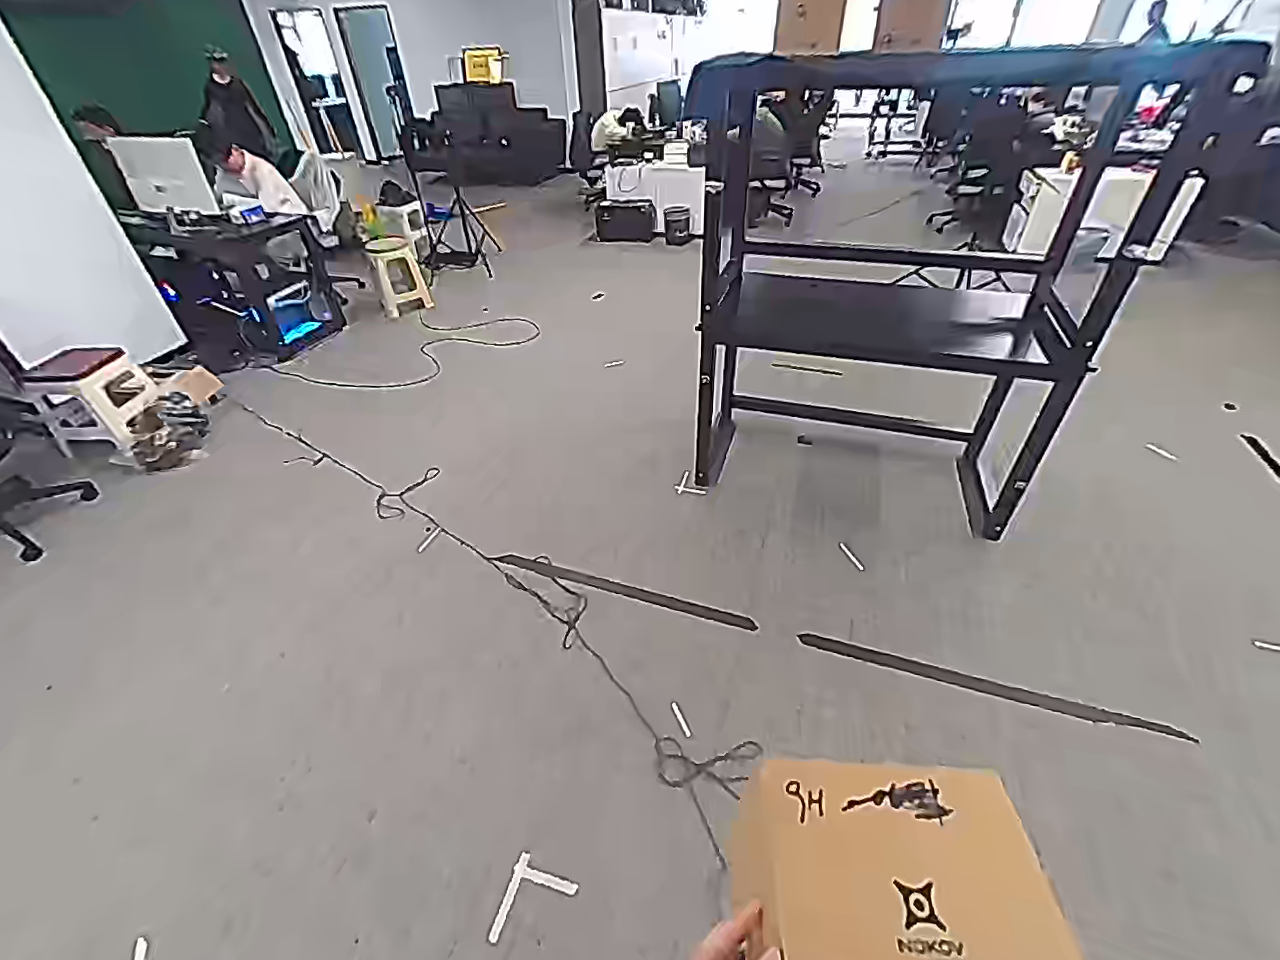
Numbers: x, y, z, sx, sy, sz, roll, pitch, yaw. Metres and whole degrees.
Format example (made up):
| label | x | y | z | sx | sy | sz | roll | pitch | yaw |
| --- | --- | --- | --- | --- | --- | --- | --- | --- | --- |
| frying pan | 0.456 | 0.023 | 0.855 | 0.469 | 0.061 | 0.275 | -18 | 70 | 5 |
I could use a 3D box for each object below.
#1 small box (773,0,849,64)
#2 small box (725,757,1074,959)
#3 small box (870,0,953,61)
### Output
| label | x | y | z | sx | sy | sz | roll | pitch | yaw |
| --- | --- | --- | --- | --- | --- | --- | --- | --- | --- |
| small box | 0.446 | -1.193 | 1.402 | 0.168 | 0.176 | 0.179 | 11 | 38 | 15 |
| small box | 0.153 | 0.310 | 0.356 | 0.168 | 0.176 | 0.179 | 3 | 41 | 0 |
| small box | 0.684 | -1.165 | 1.354 | 0.168 | 0.176 | 0.179 | 12 | 38 | 17 |
